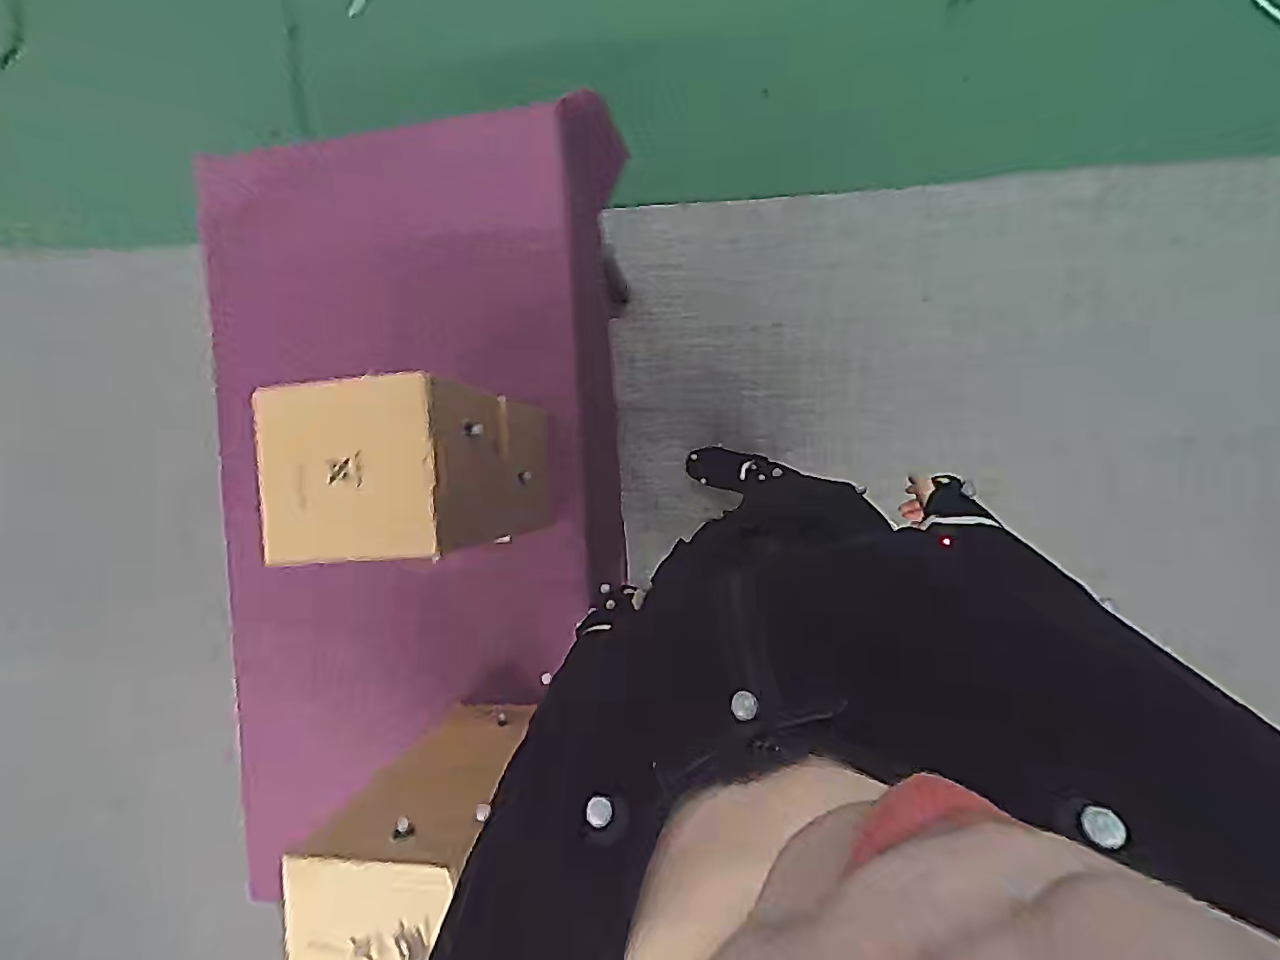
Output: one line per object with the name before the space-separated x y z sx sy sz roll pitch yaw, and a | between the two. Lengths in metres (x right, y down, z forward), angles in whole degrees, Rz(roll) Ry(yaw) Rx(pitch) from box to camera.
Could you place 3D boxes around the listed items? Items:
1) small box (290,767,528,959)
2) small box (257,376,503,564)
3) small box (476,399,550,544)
small box | -0.228 0.430 0.576 0.179 0.176 0.168 -4 89 10
small box | -0.255 -0.009 0.572 0.179 0.176 0.168 -4 90 9
small box | -0.226 -0.011 0.733 0.168 0.176 0.179 -2 91 8
